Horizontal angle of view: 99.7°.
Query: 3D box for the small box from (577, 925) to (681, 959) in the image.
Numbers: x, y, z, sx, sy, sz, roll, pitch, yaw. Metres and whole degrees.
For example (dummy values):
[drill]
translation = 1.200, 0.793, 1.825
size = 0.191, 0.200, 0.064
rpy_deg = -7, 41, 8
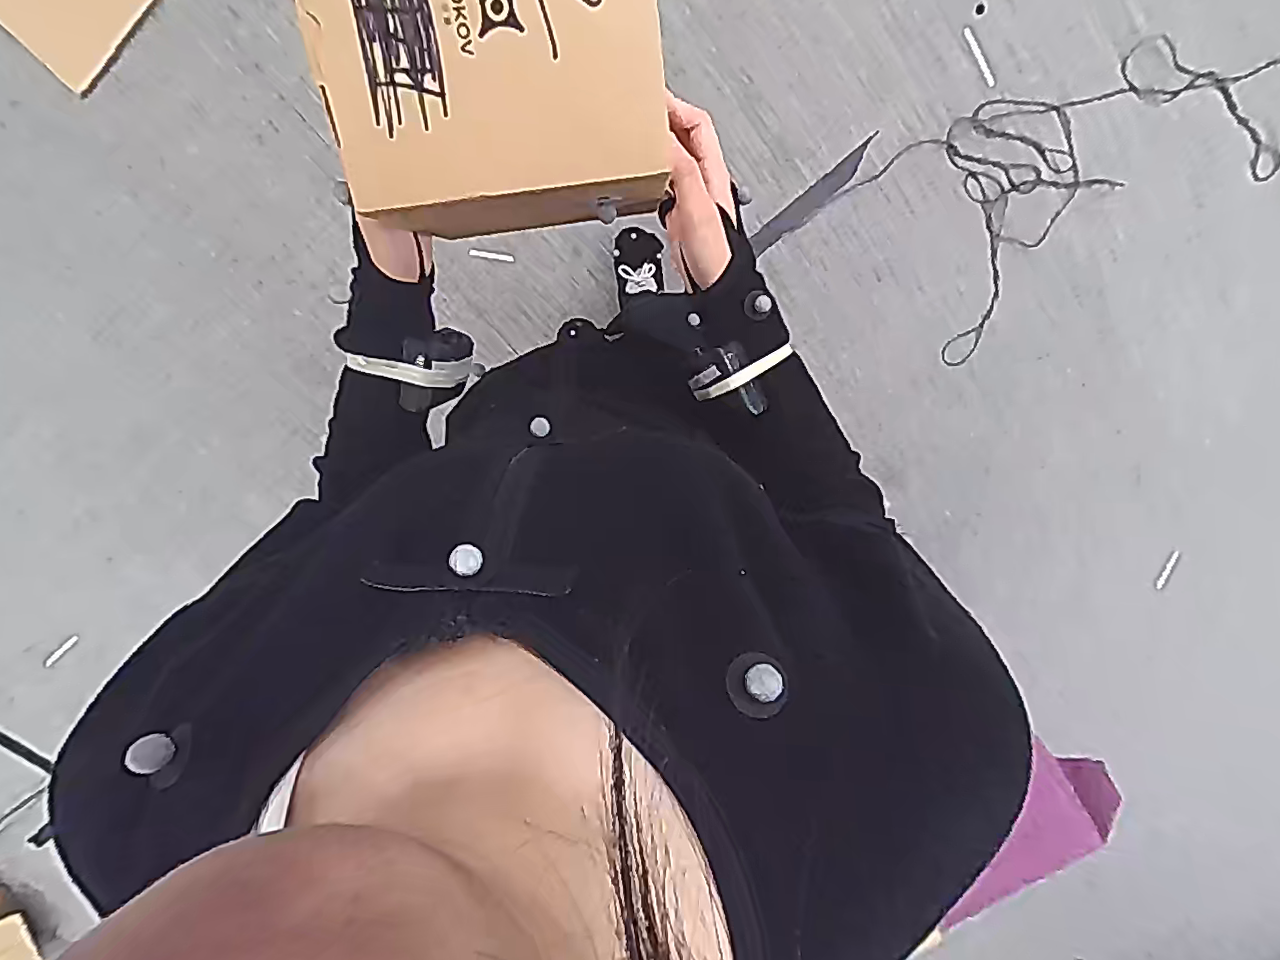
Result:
[small box]
translation = -0.010, 0.981, 0.999
size = 0.168, 0.176, 0.179
rpy_deg = -36, 106, 8
